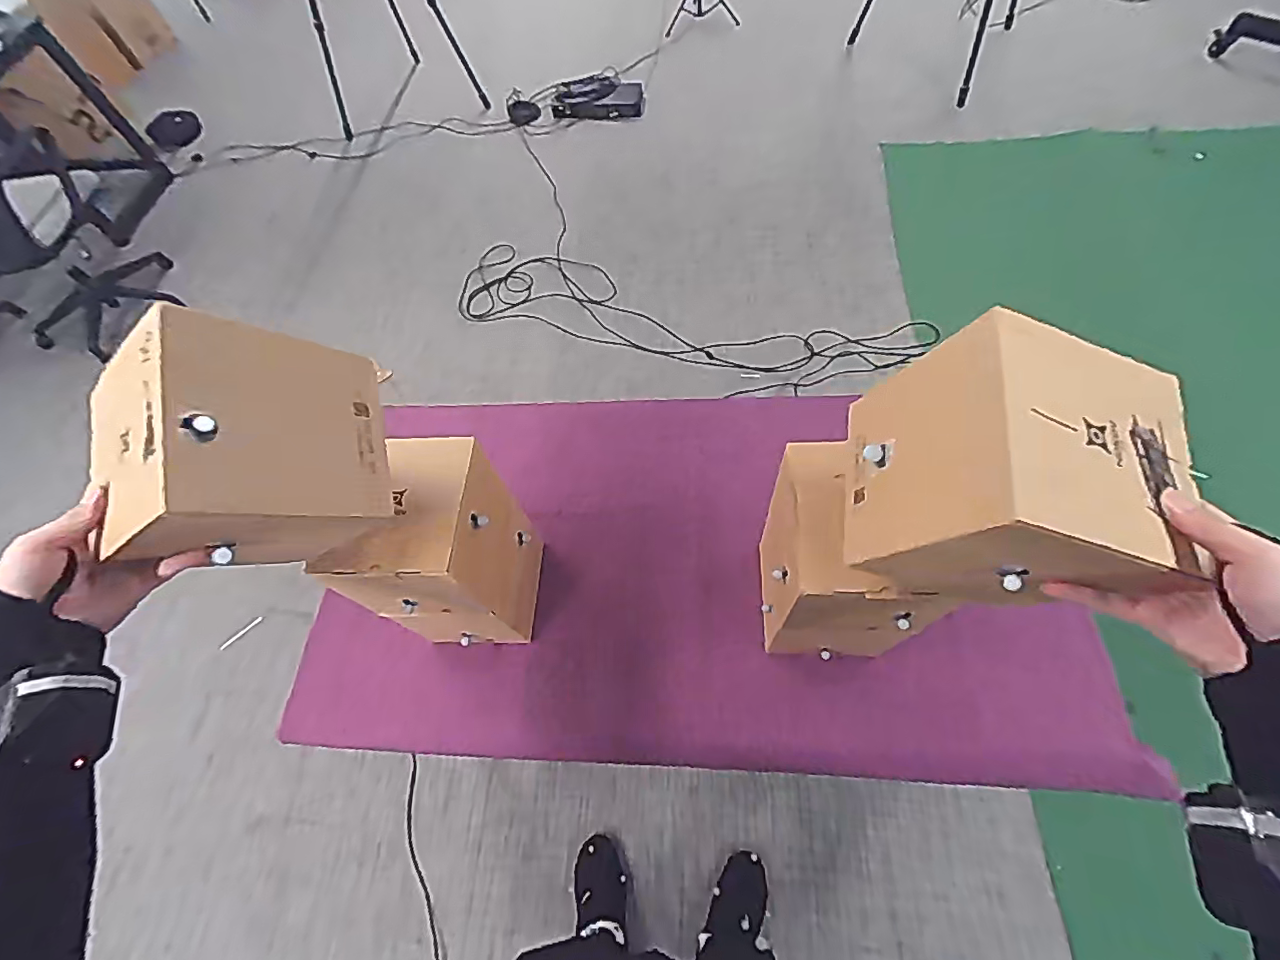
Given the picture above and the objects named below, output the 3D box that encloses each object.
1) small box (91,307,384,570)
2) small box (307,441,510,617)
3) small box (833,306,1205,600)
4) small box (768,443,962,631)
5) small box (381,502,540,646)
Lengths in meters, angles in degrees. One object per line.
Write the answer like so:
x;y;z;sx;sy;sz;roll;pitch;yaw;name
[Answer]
-0.362;-0.021;0.493;0.179;0.176;0.168;-23;74;31;small box
-0.277;0.067;0.696;0.168;0.176;0.179;-2;61;5;small box
0.288;-0.004;0.445;0.179;0.176;0.168;16;67;-11;small box
0.243;0.072;0.628;0.168;0.176;0.179;-1;61;6;small box
-0.261;0.148;0.837;0.168;0.176;0.179;-1;61;7;small box
